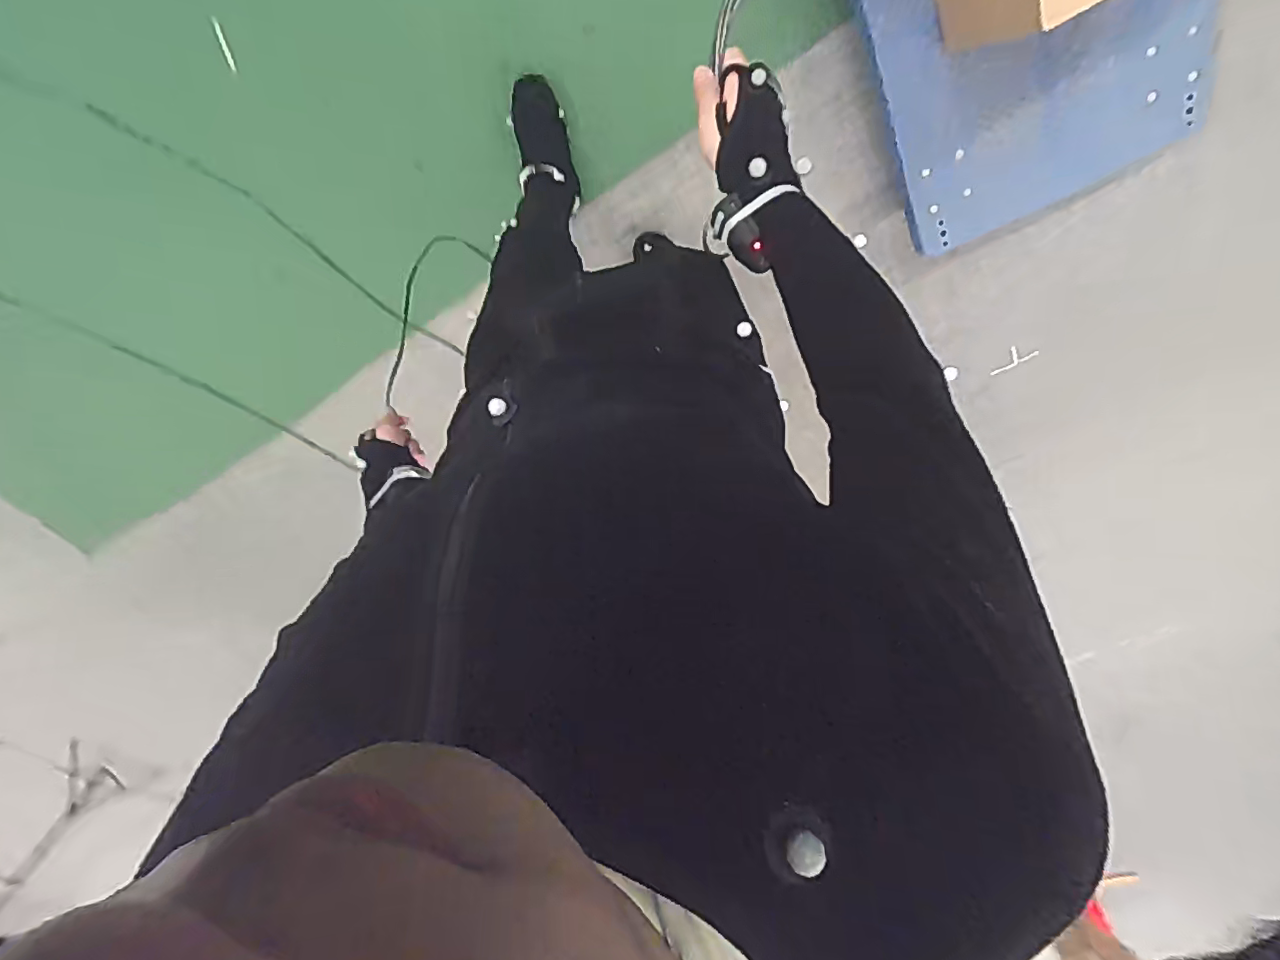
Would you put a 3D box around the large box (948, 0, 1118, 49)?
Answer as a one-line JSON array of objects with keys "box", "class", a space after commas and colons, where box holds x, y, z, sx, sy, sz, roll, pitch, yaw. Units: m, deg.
[{"box": [0.635, -0.929, 0.763, 0.320, 0.320, 0.408, -23, 122, 16], "class": "large box"}]
